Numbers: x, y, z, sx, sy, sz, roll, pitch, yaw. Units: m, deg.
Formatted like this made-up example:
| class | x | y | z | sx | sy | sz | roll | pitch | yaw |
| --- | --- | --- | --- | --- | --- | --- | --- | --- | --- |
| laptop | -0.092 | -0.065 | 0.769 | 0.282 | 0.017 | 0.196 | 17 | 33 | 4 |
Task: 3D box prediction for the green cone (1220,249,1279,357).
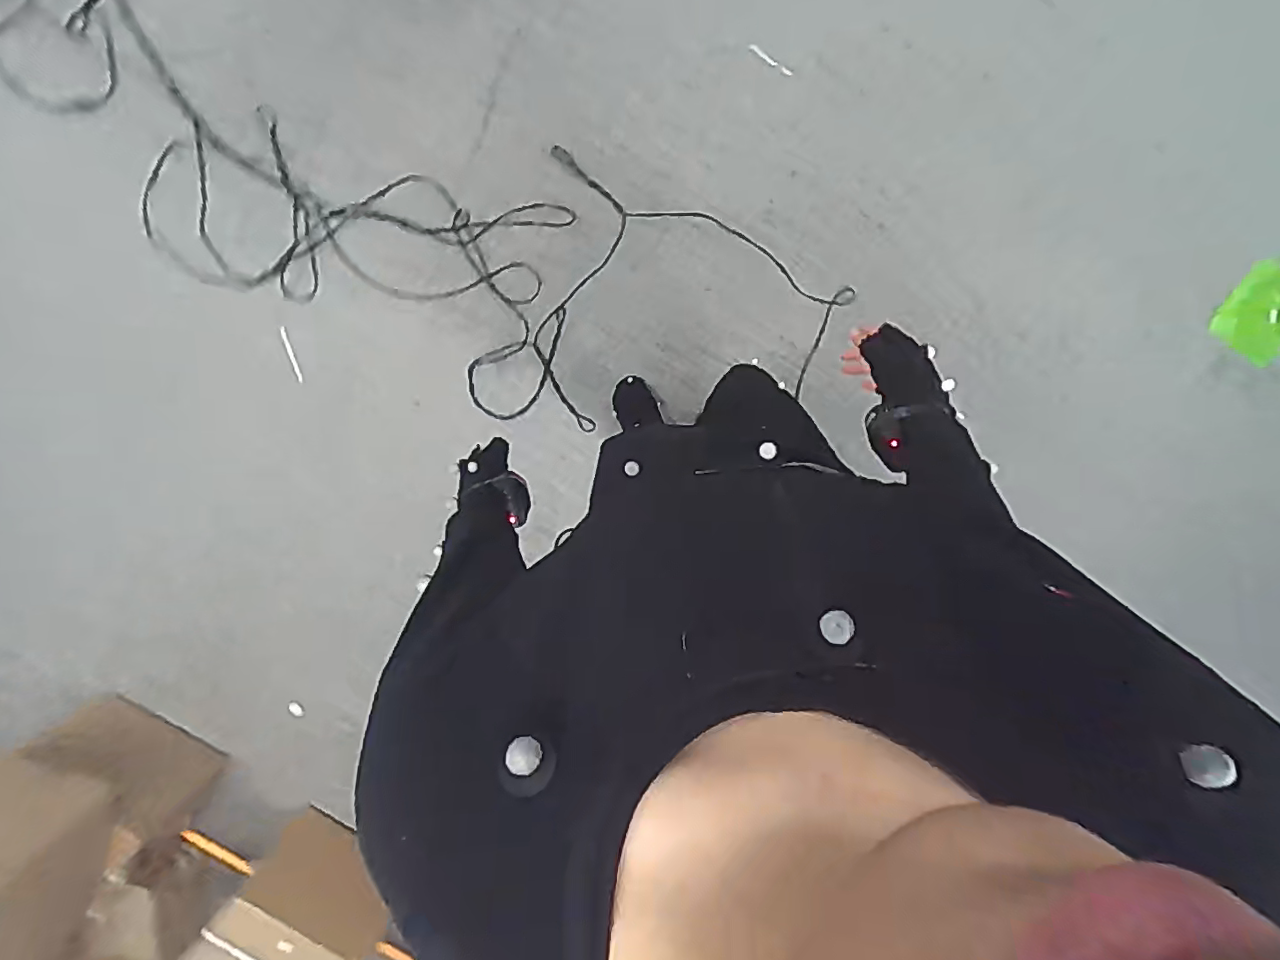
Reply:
| class | x | y | z | sx | sy | sz | roll | pitch | yaw |
| --- | --- | --- | --- | --- | --- | --- | --- | --- | --- |
| green cone | 1.554 | -0.395 | 1.161 | 0.200 | 0.368 | 0.202 | 30 | 102 | -5 |
